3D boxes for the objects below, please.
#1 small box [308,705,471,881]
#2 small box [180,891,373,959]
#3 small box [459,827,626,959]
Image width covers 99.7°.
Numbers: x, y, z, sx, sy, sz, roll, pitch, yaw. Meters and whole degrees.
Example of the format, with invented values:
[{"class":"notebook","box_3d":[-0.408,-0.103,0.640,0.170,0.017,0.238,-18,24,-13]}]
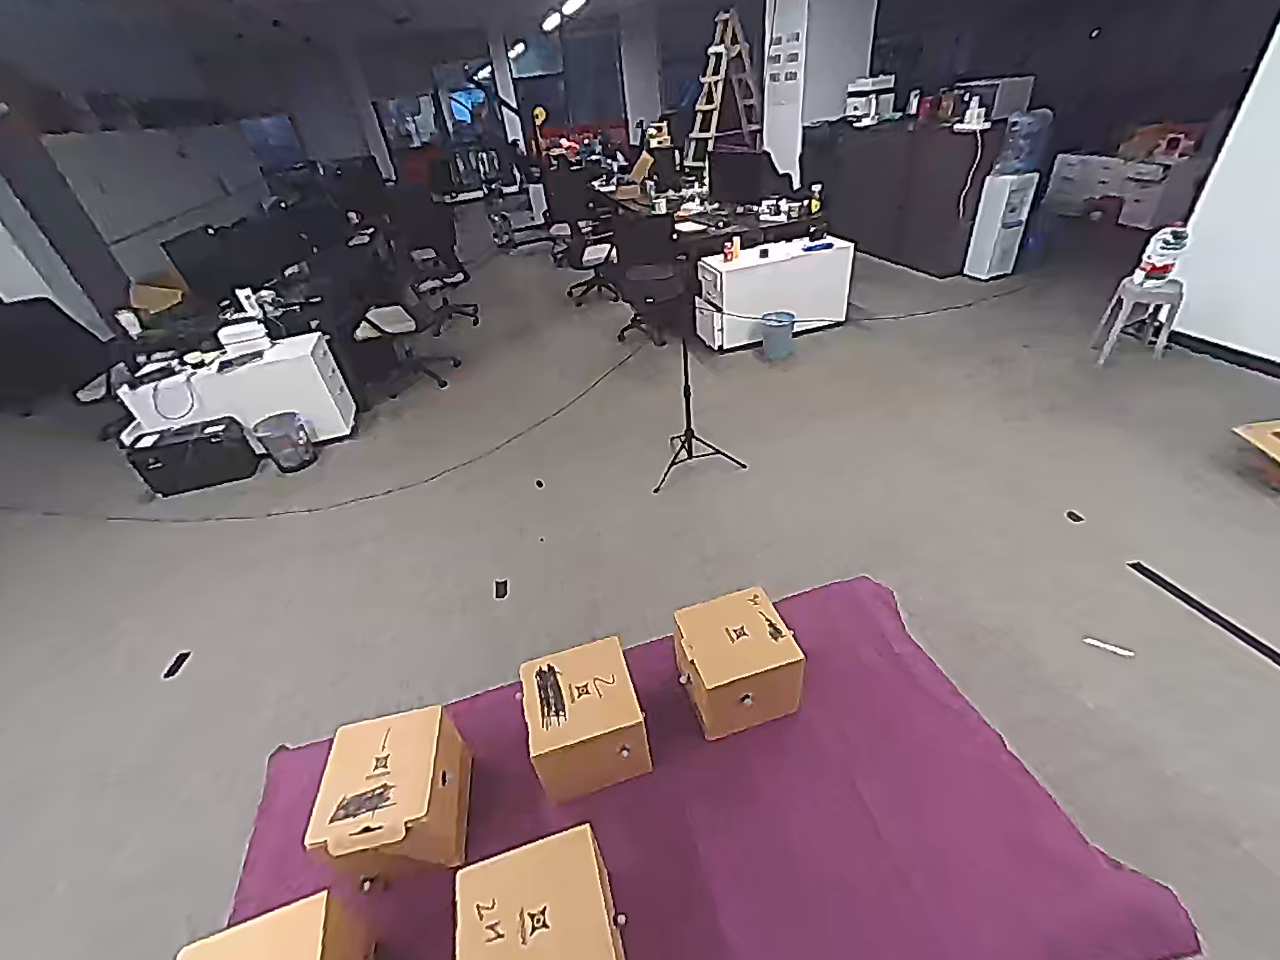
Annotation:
[{"class":"small box","box_3d":[-0.370,0.487,0.838,0.168,0.176,0.179,-10,36,-5]},{"class":"small box","box_3d":[-0.428,0.641,0.635,0.168,0.176,0.179,-15,37,-14]},{"class":"small box","box_3d":[-0.114,0.576,0.672,0.179,0.176,0.168,-14,36,-9]}]
